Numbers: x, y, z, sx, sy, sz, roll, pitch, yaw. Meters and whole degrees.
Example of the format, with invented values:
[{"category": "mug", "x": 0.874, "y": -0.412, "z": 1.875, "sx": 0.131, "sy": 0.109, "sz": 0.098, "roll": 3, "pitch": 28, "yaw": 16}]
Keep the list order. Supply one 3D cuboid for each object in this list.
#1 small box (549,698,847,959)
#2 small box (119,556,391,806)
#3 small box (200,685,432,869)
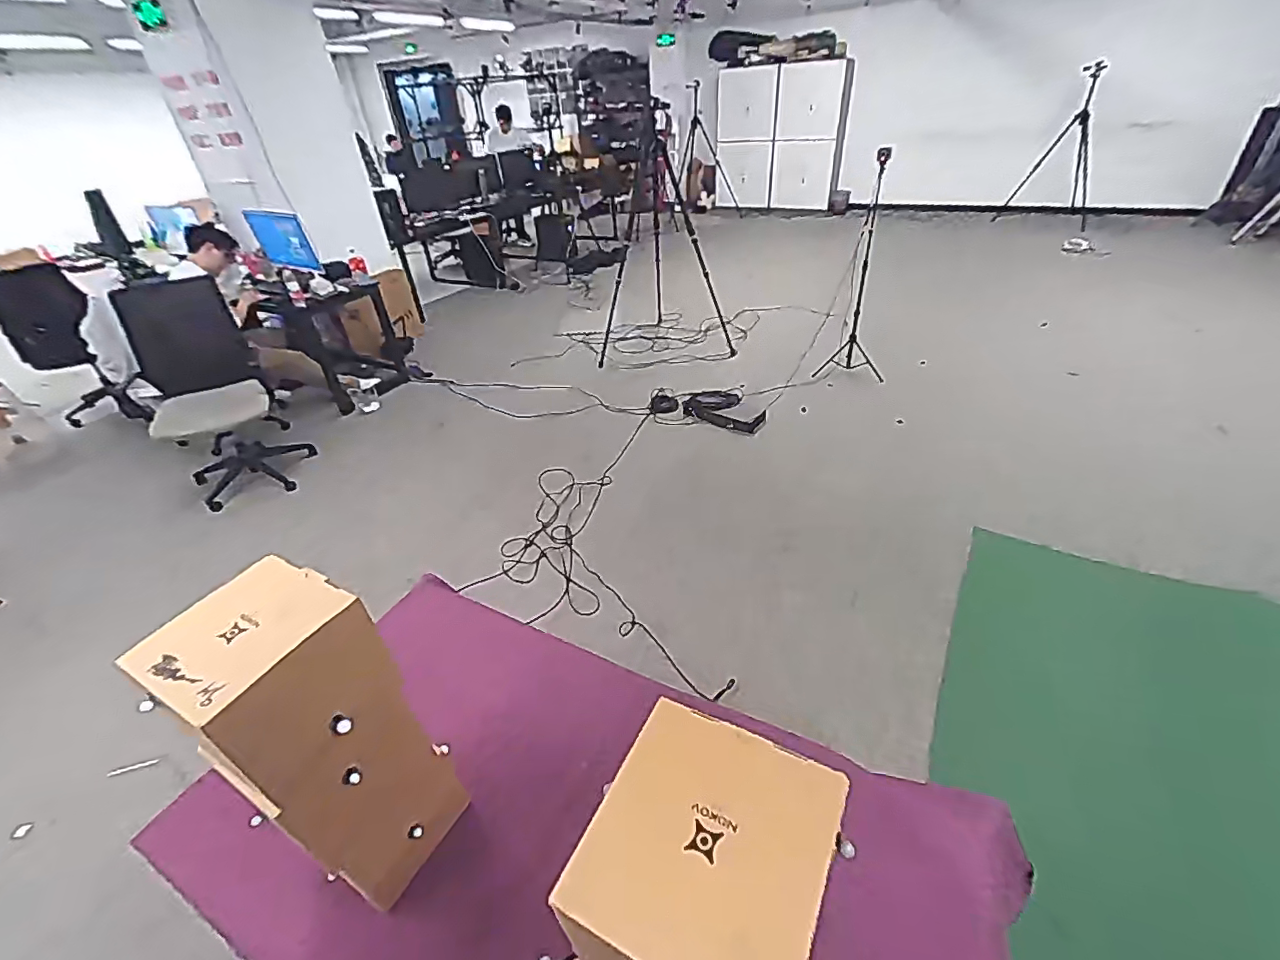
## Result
[{"category": "small box", "x": 0.056, "y": 0.322, "z": 0.433, "sx": 0.168, "sy": 0.176, "sz": 0.179, "roll": 13, "pitch": 38, "yaw": 26}, {"category": "small box", "x": -0.417, "y": 0.223, "z": 0.622, "sx": 0.168, "sy": 0.176, "sz": 0.179, "roll": 14, "pitch": 40, "yaw": 26}, {"category": "small box", "x": -0.409, "y": 0.360, "z": 0.713, "sx": 0.168, "sy": 0.176, "sz": 0.179, "roll": 16, "pitch": 41, "yaw": 27}]
